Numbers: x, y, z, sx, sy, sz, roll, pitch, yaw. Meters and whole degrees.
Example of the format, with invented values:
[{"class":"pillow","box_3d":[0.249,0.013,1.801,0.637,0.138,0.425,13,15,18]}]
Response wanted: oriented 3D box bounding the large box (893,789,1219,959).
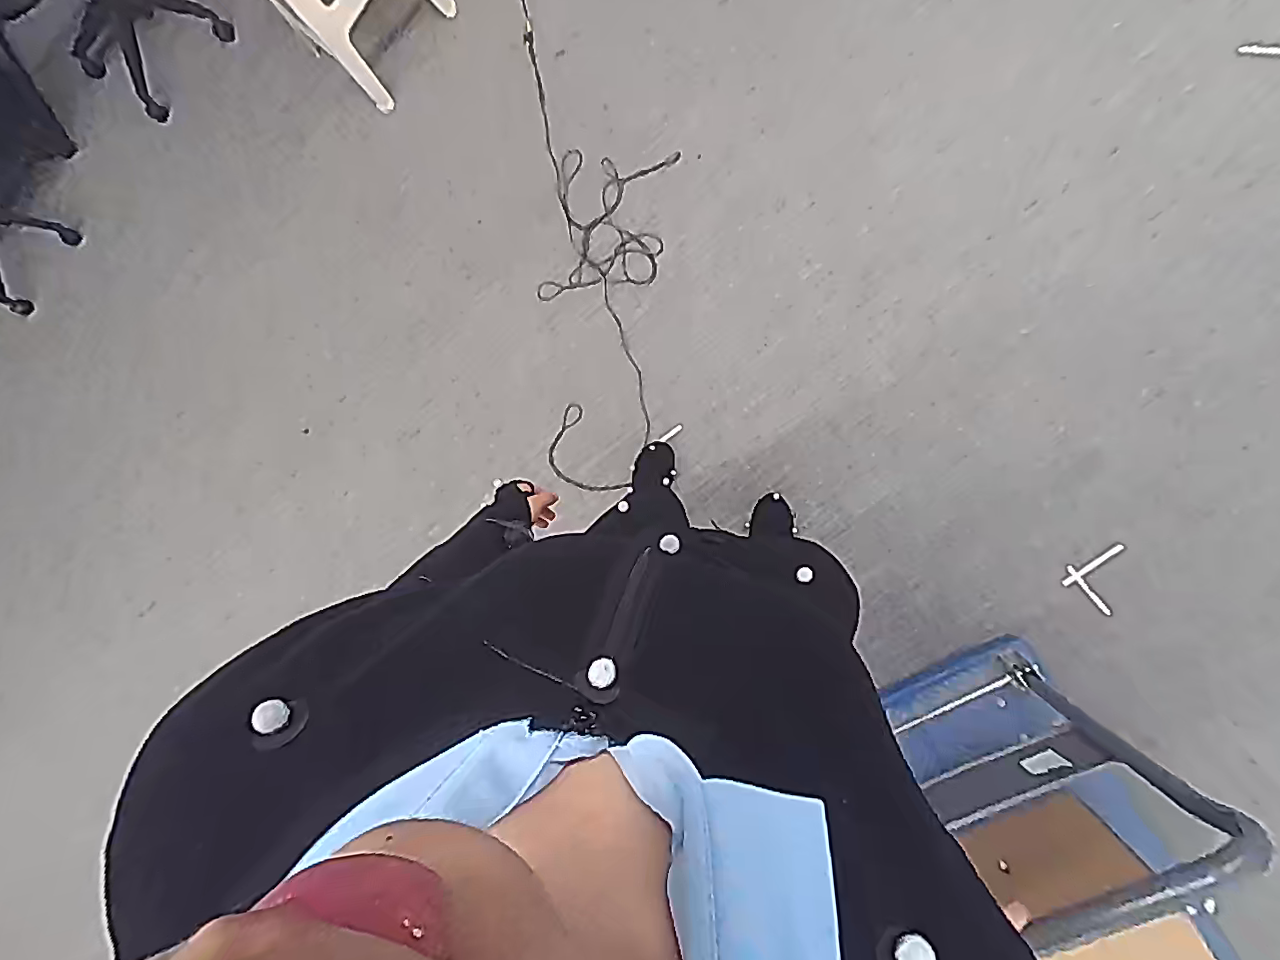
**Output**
[{"class":"large box","box_3d":[0.760,0.862,0.994,0.408,0.320,0.320,-31,84,10]}]
